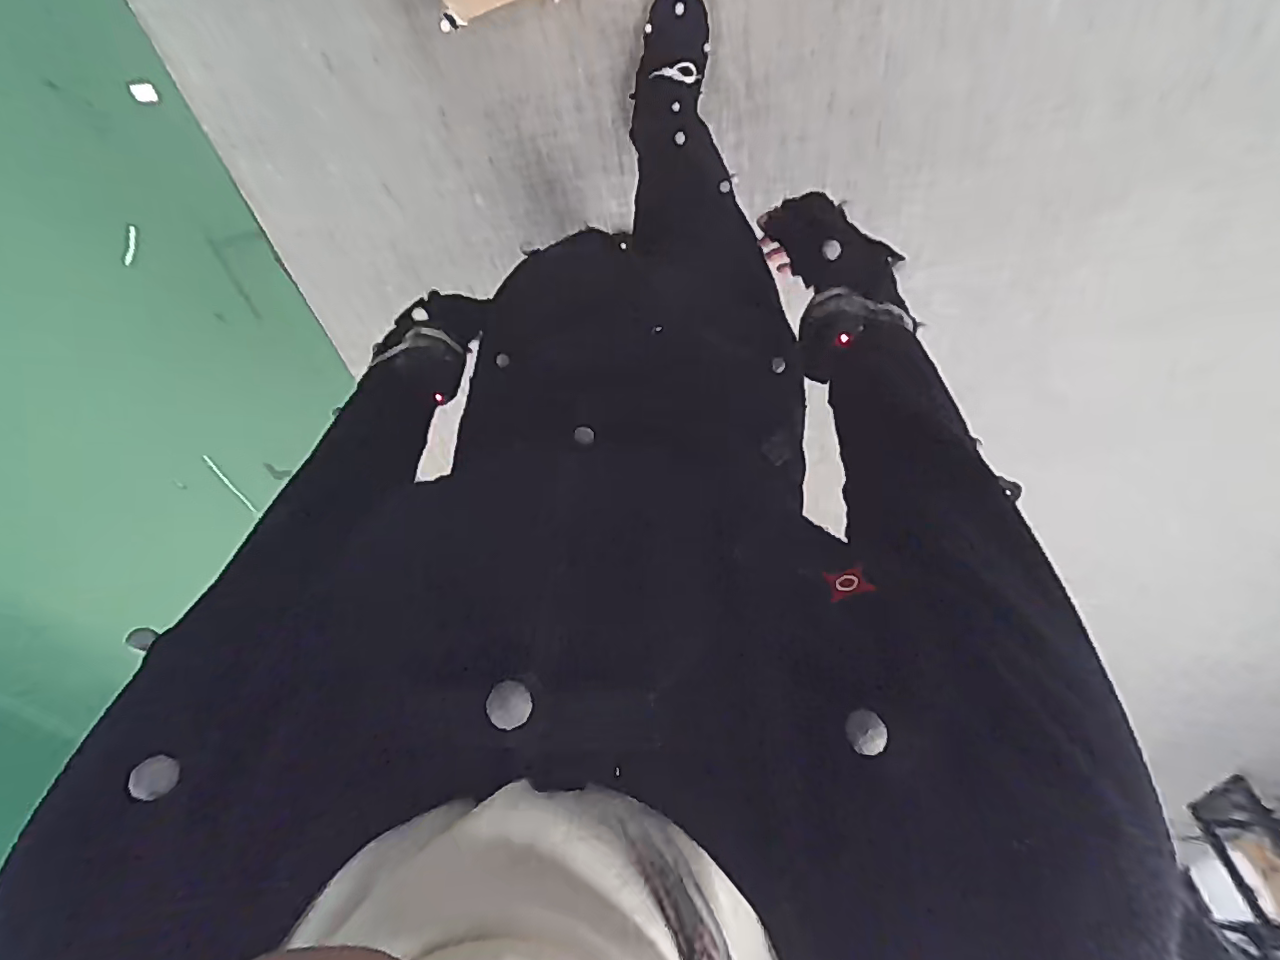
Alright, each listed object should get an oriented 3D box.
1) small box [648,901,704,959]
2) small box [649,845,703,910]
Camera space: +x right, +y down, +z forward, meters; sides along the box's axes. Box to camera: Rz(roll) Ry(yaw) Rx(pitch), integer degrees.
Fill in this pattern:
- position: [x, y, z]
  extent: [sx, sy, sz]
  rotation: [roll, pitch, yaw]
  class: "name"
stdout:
- position: [0.125, 1.582, 1.881]
  extent: [0.168, 0.176, 0.179]
  rotation: [-8, 132, 11]
  class: "small box"
- position: [0.134, 1.465, 1.995]
  extent: [0.179, 0.176, 0.168]
  rotation: [-6, 132, 11]
  class: "small box"
